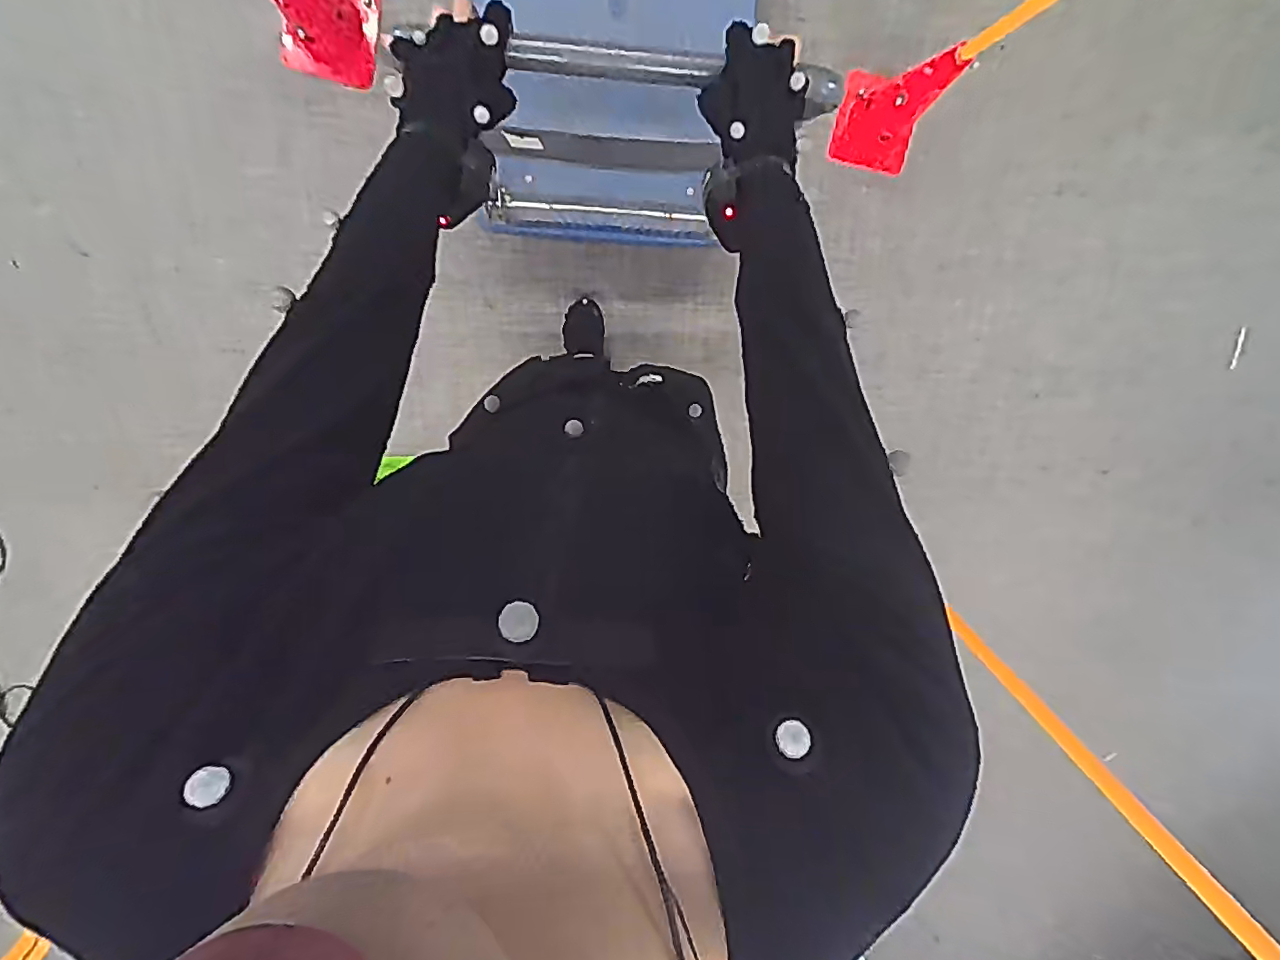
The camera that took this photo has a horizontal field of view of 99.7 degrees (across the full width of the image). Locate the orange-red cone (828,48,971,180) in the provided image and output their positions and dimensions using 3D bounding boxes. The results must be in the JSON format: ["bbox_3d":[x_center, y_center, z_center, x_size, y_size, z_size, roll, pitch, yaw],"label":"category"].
[{"bbox_3d":[0.591,-0.826,1.176,0.198,0.360,0.199,11,104,-6],"label":"orange-red cone"}]
